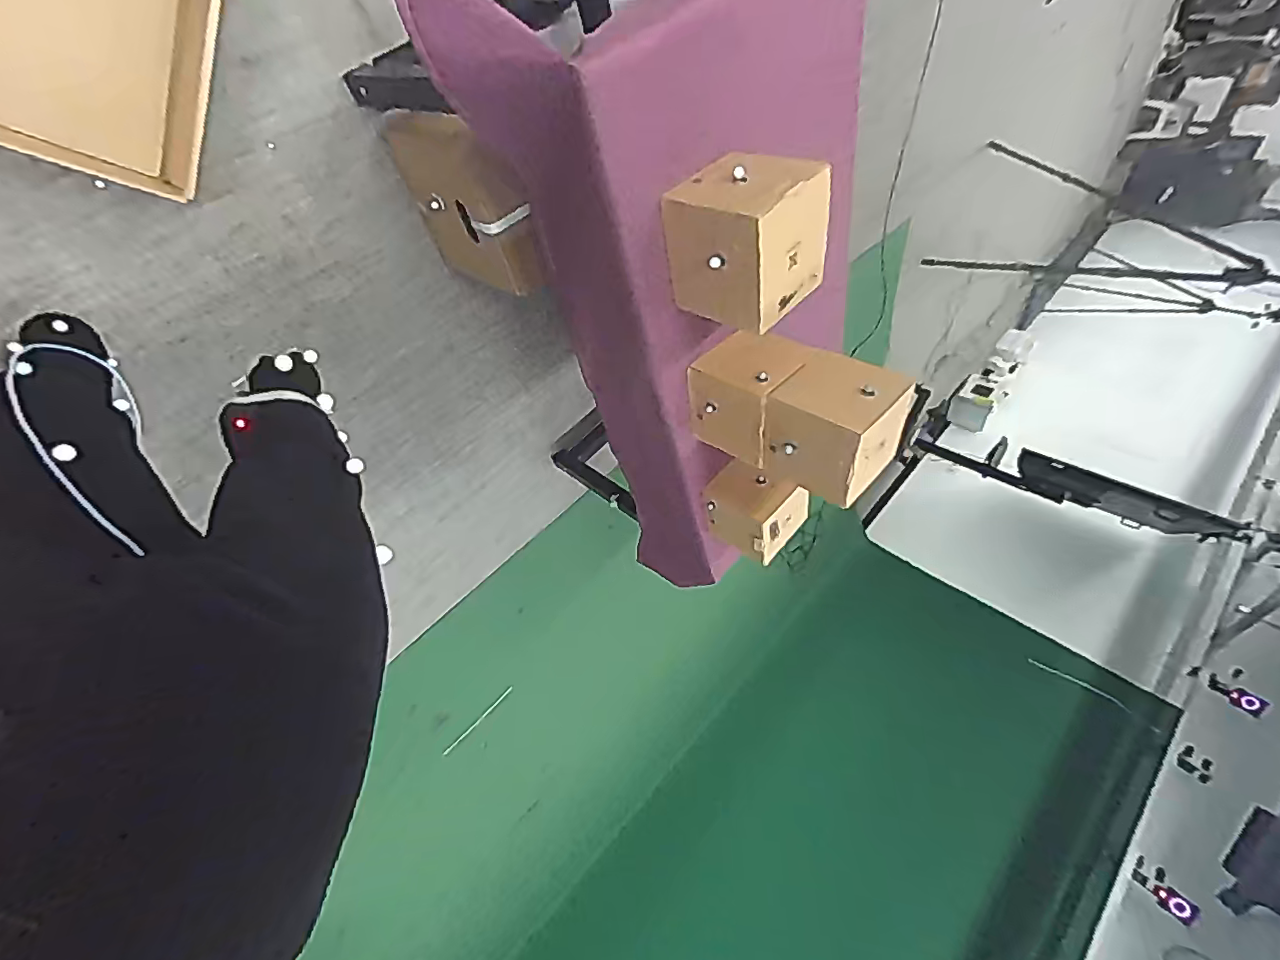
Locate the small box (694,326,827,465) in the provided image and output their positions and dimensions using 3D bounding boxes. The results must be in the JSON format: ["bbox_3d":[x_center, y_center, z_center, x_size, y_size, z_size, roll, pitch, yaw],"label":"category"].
[{"bbox_3d":[0.221,-0.166,1.018,0.179,0.176,0.168,-38,141,-25],"label":"small box"}]

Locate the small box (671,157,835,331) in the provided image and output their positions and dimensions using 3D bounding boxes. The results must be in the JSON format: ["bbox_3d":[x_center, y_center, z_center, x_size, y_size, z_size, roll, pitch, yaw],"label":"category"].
[{"bbox_3d":[0.162,-0.353,0.793,0.168,0.176,0.179,-41,142,-21],"label":"small box"}]

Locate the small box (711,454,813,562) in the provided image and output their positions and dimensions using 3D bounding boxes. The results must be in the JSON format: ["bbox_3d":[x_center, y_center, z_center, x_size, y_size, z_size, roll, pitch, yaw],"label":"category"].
[{"bbox_3d":[0.278,0.048,1.251,0.179,0.176,0.168,-43,143,-22],"label":"small box"}]

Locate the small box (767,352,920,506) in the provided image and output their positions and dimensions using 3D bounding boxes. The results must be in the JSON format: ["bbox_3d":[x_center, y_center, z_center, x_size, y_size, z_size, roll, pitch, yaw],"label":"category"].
[{"bbox_3d":[0.341,-0.096,0.928,0.179,0.176,0.168,-37,140,-26],"label":"small box"}]
